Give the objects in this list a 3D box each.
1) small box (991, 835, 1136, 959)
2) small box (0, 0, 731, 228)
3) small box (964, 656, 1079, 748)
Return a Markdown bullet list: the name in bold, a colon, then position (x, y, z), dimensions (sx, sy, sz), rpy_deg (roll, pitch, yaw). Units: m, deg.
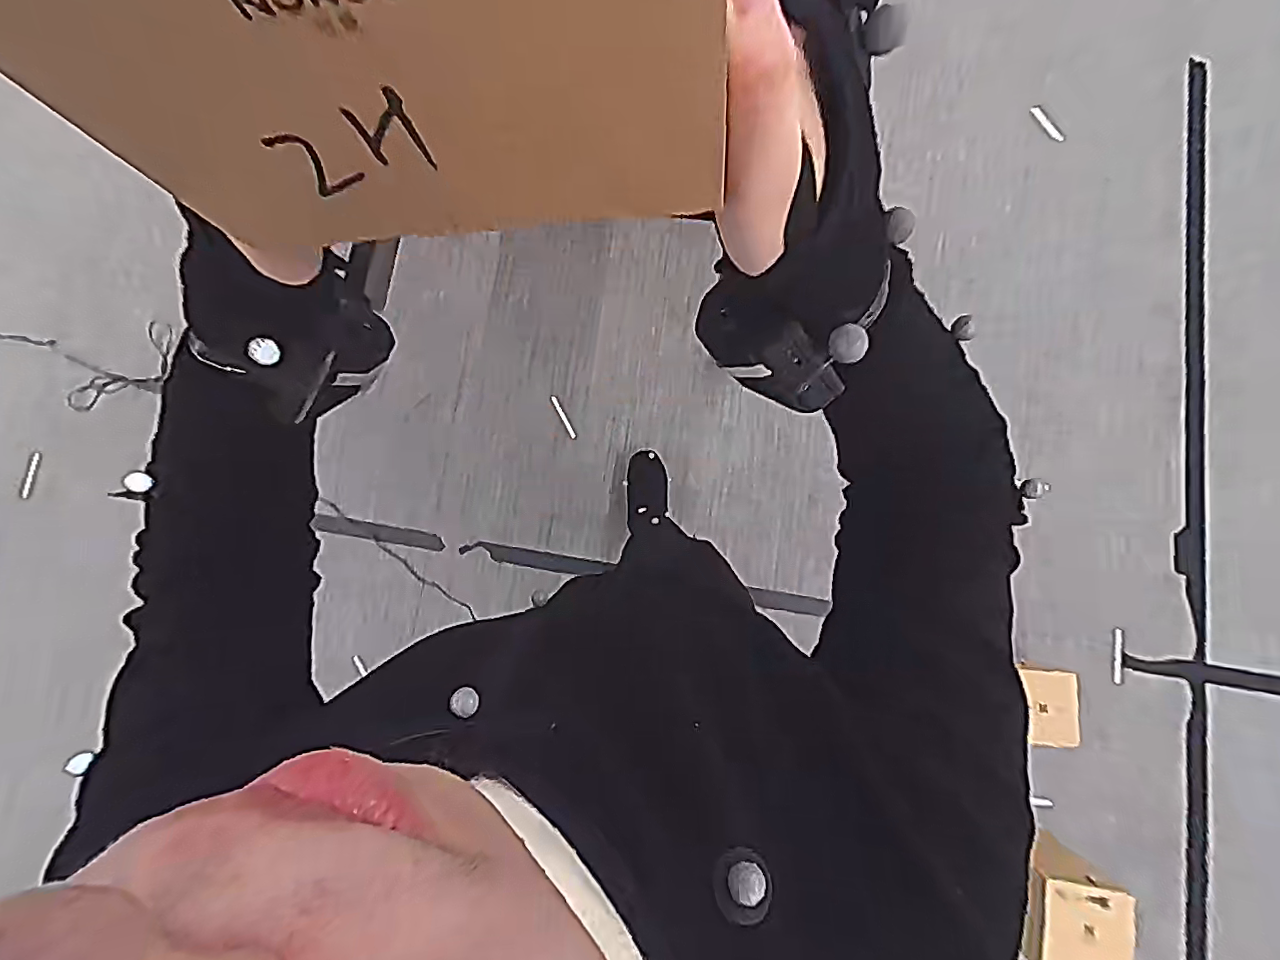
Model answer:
- **small box**: position (0.853, 0.876, 1.107), dimensions (0.168, 0.176, 0.179), rpy_deg (10, 84, 4)
- **small box**: position (-0.067, -0.183, 0.103), dimensions (0.168, 0.179, 0.176), rpy_deg (-1, 79, 7)
- **small box**: position (0.913, 0.529, 1.311), dimensions (0.179, 0.176, 0.168), rpy_deg (3, 83, 3)
